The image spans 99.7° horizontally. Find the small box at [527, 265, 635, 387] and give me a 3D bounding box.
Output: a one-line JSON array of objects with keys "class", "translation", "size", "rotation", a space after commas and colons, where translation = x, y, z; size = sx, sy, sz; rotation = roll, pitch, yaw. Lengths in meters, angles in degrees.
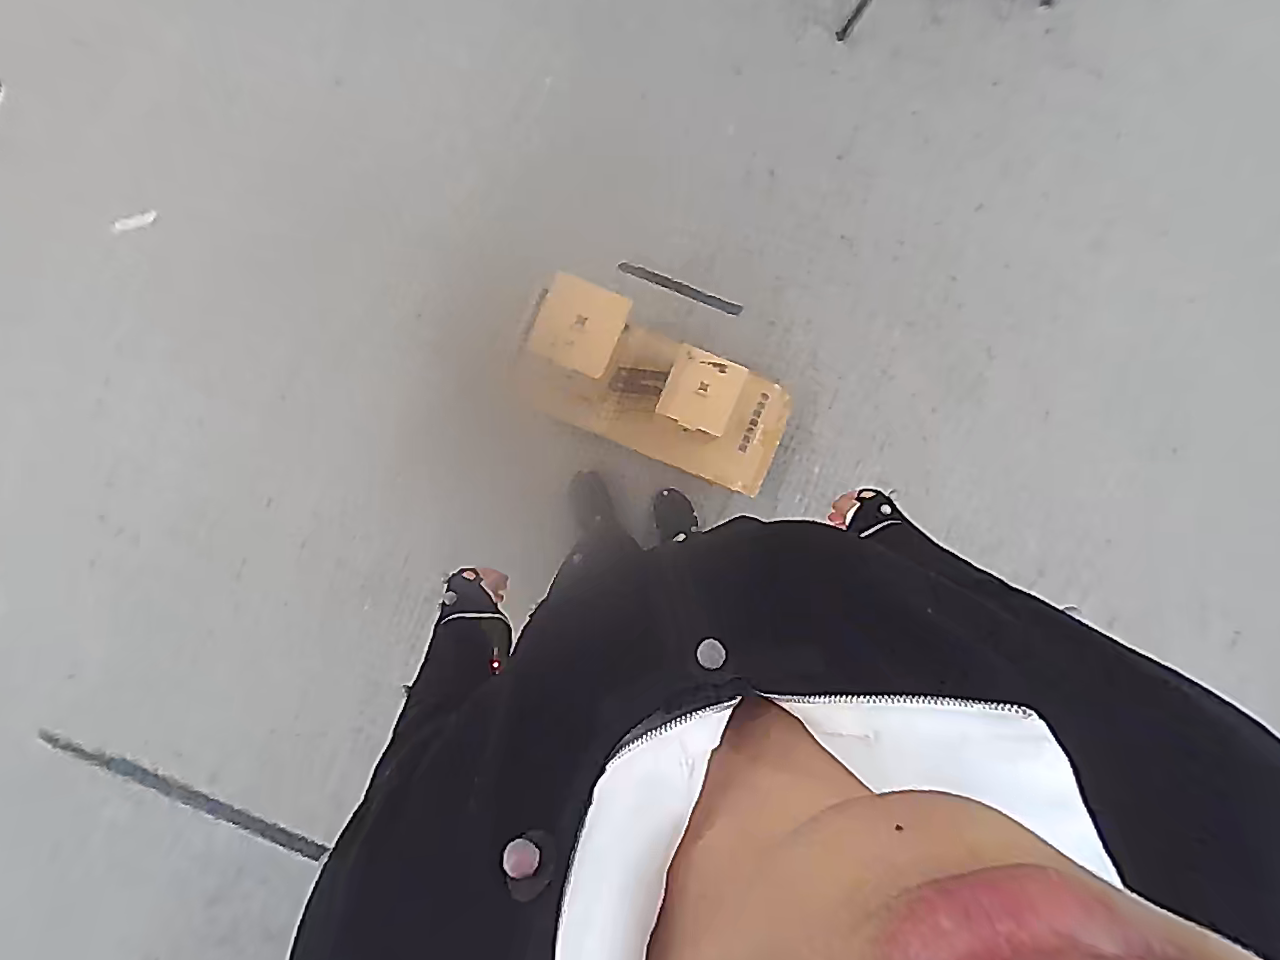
[{"class": "small box", "translation": [-0.120, -0.318, 1.152], "size": [0.168, 0.176, 0.179], "rotation": [24, 90, 0]}]

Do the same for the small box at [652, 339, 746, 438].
[{"class": "small box", "translation": [0.141, -0.213, 1.319], "size": [0.168, 0.176, 0.179], "rotation": [24, 90, 2]}]
